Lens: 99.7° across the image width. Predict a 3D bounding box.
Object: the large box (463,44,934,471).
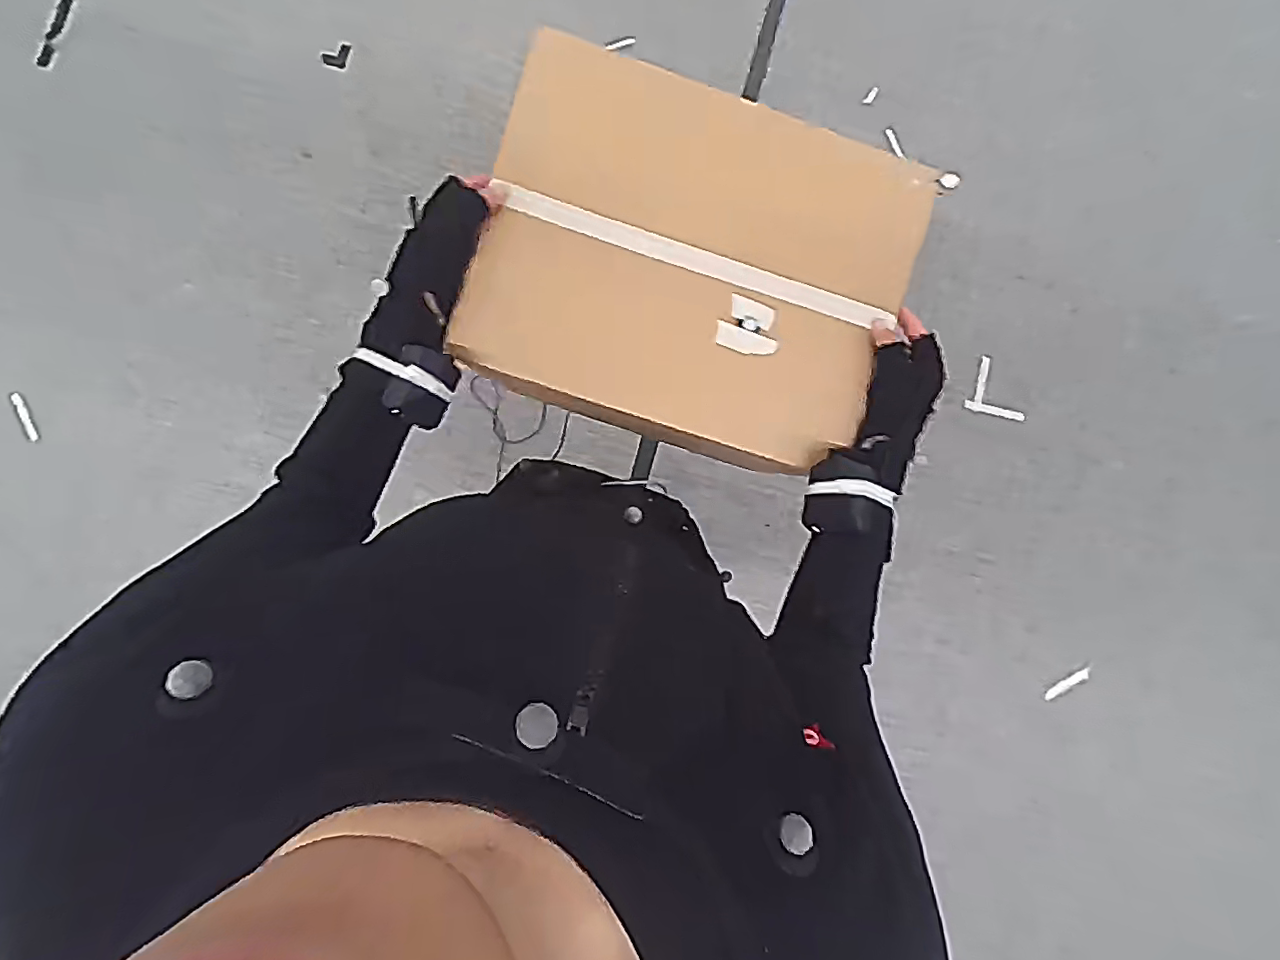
[{"bbox_3d":[0.050,-0.218,0.673,0.408,0.320,0.320,18,93,-5],"label":"large box"}]
